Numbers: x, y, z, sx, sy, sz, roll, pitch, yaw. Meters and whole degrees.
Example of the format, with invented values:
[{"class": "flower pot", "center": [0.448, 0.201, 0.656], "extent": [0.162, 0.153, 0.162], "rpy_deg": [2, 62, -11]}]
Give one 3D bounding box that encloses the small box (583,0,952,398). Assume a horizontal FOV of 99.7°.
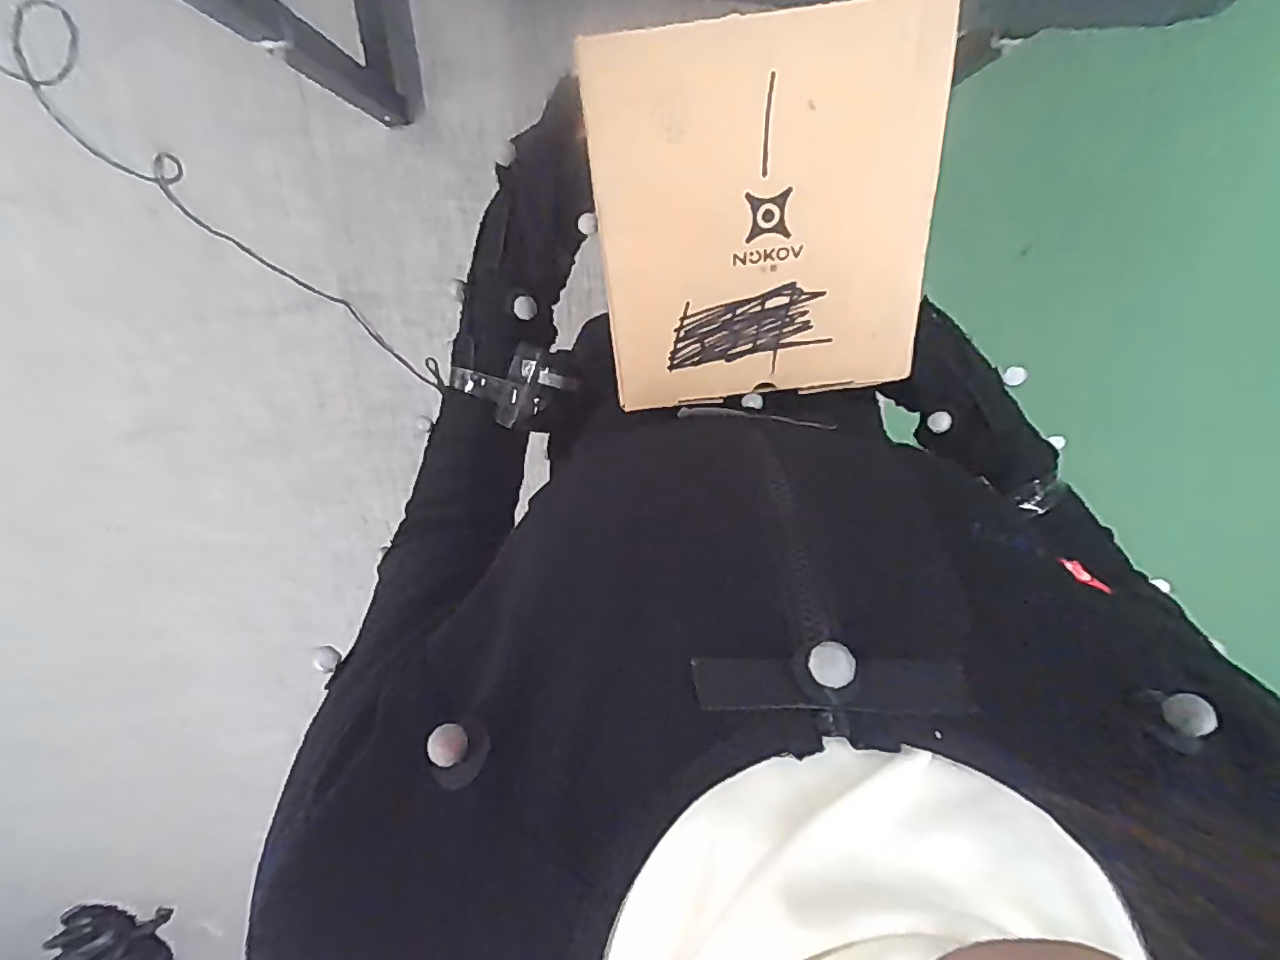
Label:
[{"class": "small box", "center": [0.061, -0.170, 0.348], "extent": [0.168, 0.176, 0.179], "rpy_deg": [-5, 120, 1]}]
